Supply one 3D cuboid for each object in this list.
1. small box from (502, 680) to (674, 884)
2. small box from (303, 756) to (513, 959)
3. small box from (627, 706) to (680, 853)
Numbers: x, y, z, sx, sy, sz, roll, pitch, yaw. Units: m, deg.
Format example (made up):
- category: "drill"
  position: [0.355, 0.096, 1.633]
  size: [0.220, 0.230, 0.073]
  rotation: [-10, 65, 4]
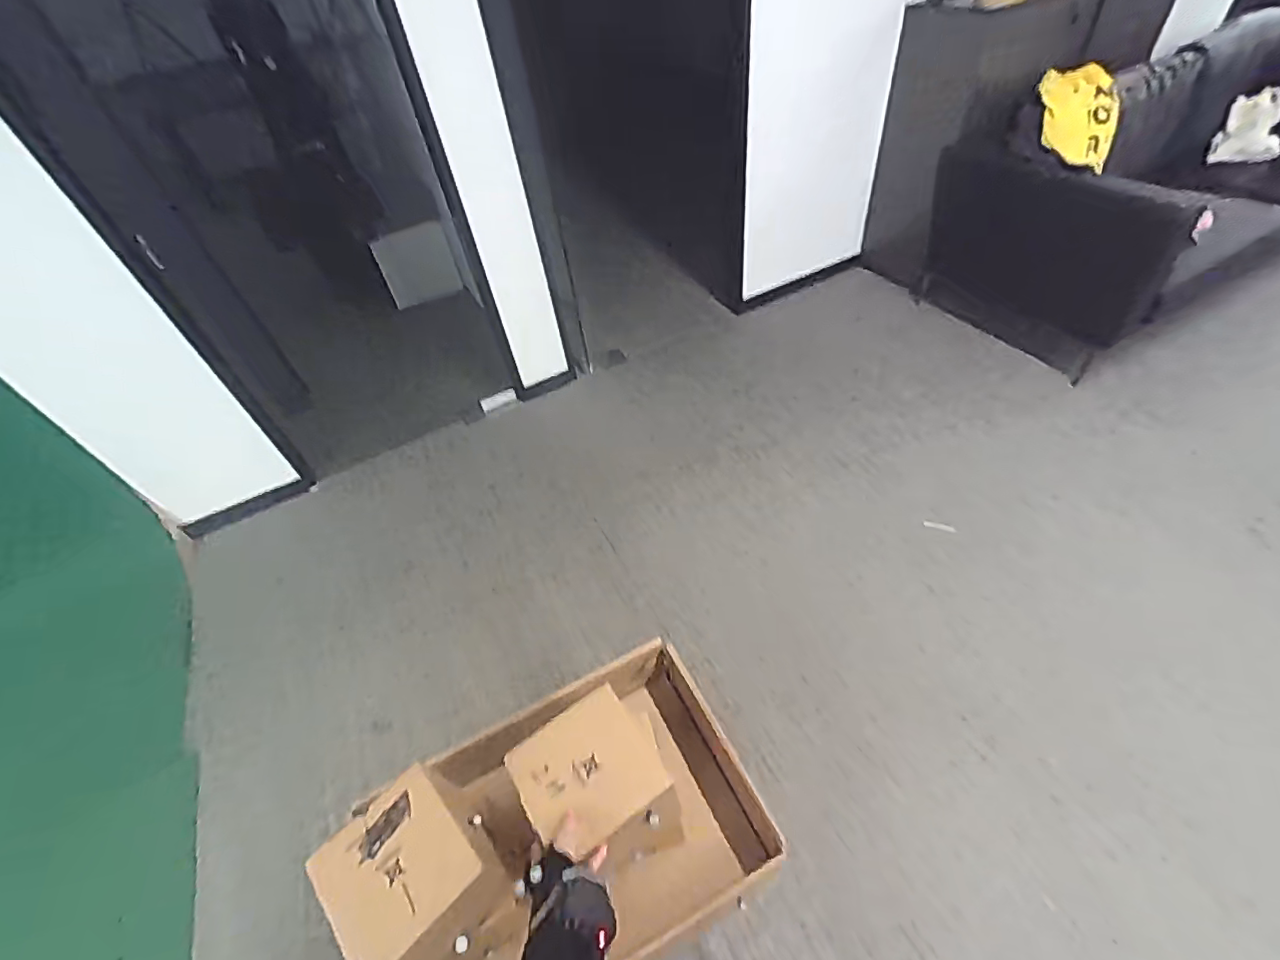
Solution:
- category: "small box"
  position: [-0.064, 0.428, 0.768]
  size: [0.179, 0.176, 0.168]
  rotation: [-31, 49, -17]
- category: "small box"
  position: [-0.300, 0.517, 0.723]
  size: [0.168, 0.176, 0.179]
  rotation: [-39, 54, -23]
- category: "small box"
  position: [-0.037, 0.516, 0.909]
  size: [0.168, 0.176, 0.179]
  rotation: [-17, 48, -6]
